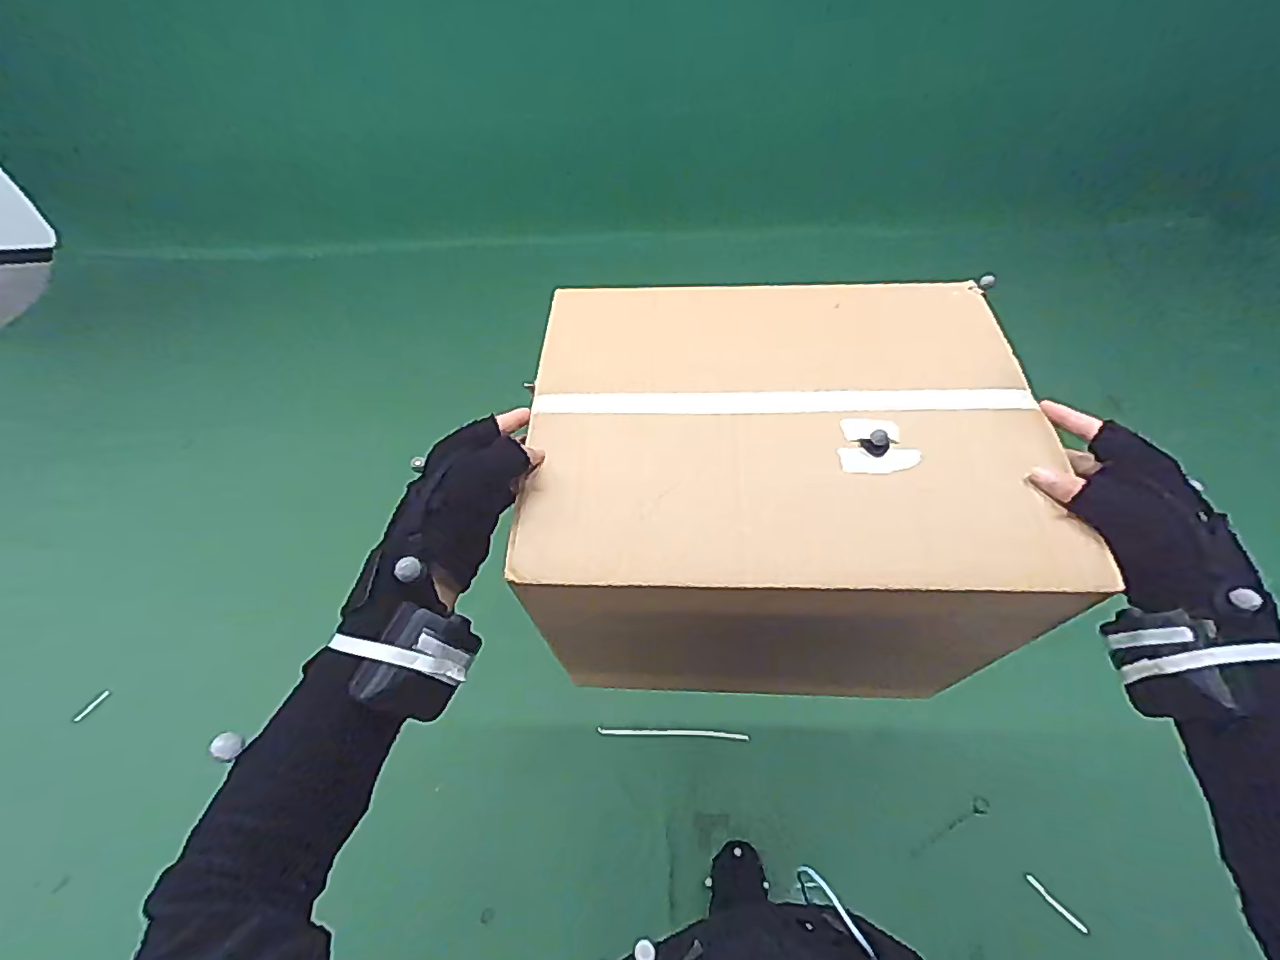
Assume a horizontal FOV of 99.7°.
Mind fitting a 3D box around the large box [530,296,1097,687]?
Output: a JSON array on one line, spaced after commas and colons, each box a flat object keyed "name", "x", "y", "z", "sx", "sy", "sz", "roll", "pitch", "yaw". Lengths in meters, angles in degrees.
[{"name": "large box", "x": 0.123, "y": 0.027, "z": 0.581, "sx": 0.408, "sy": 0.320, "sz": 0.320, "roll": 0, "pitch": 57, "yaw": 2}]
